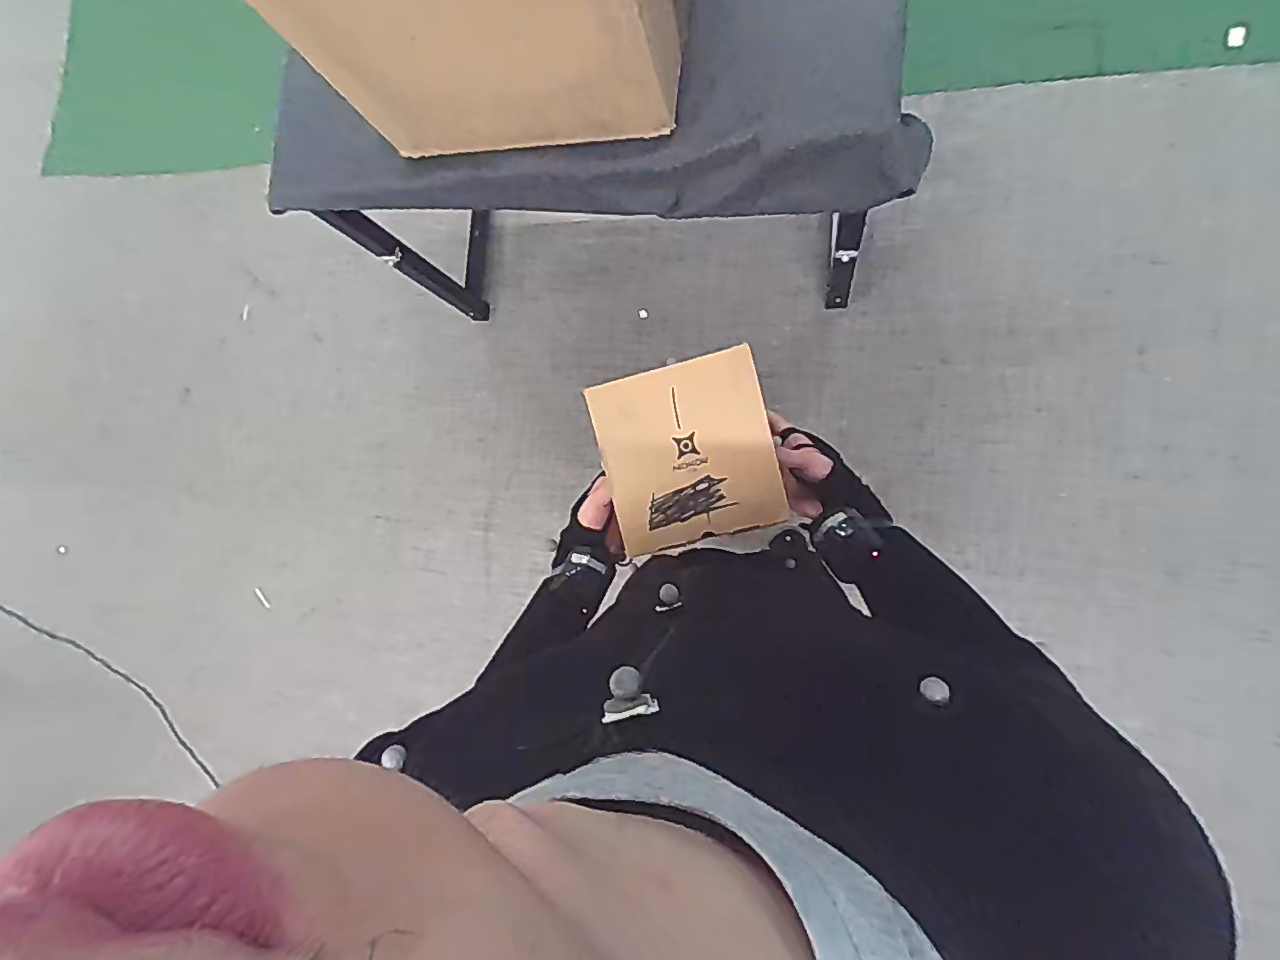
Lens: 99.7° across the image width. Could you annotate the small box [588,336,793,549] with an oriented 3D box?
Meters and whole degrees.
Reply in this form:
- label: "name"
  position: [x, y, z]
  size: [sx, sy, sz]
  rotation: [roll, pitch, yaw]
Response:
- label: "small box"
  position: [0.057, -0.042, 0.598]
  size: [0.168, 0.176, 0.179]
  rotation: [-15, 95, 7]
